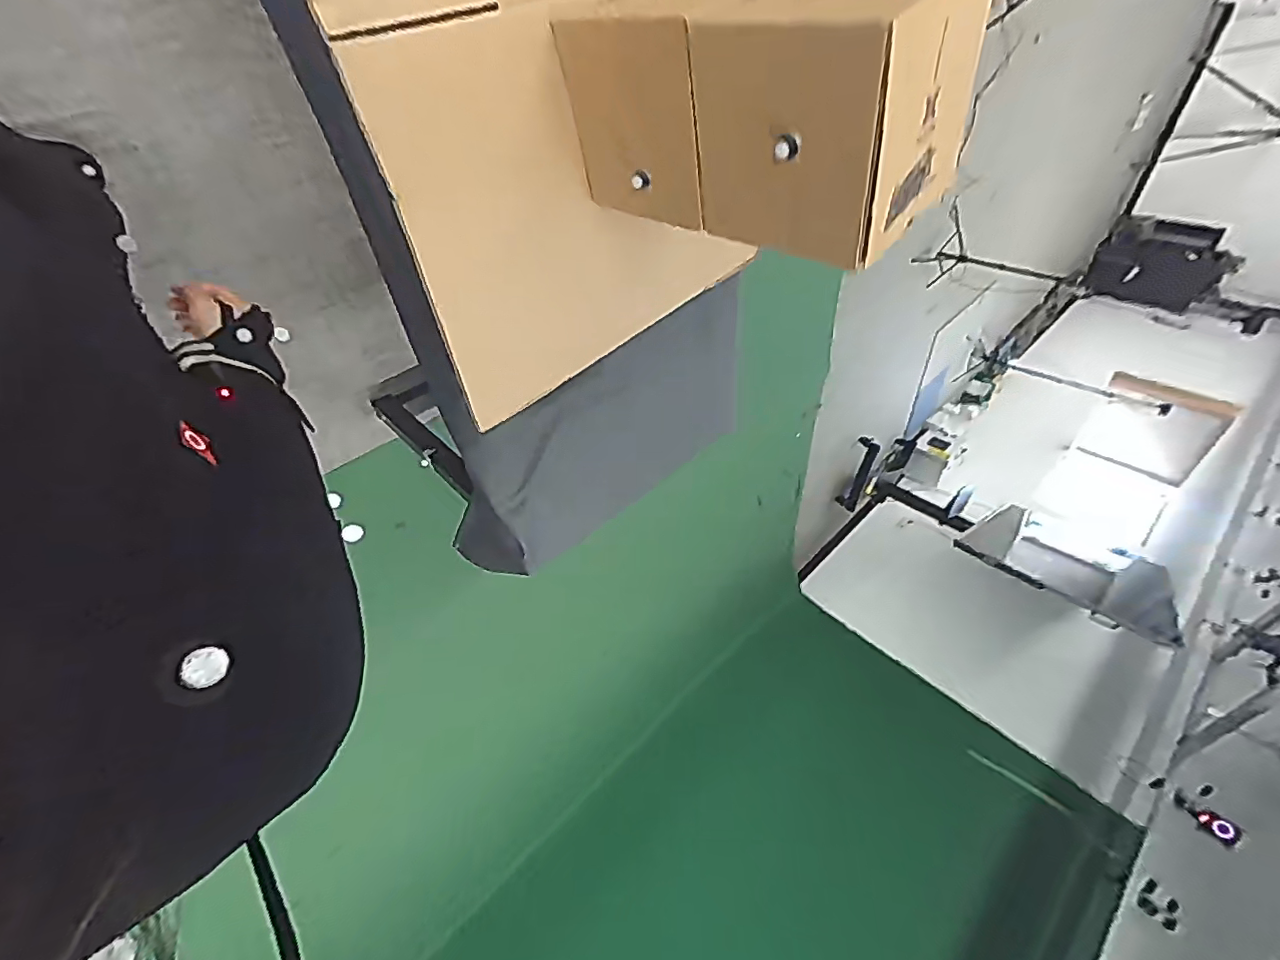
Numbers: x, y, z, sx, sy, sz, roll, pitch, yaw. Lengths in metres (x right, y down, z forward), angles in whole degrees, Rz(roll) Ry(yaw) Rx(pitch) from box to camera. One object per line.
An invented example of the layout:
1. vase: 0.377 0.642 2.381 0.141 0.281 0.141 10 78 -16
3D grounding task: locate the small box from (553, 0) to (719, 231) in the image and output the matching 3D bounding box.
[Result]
1. small box: 0.041 -0.393 0.557 0.168 0.176 0.179 -45 145 -22

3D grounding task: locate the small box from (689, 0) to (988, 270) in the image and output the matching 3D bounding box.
1. small box: 0.162 -0.320 0.472 0.168 0.176 0.179 -45 145 -21
